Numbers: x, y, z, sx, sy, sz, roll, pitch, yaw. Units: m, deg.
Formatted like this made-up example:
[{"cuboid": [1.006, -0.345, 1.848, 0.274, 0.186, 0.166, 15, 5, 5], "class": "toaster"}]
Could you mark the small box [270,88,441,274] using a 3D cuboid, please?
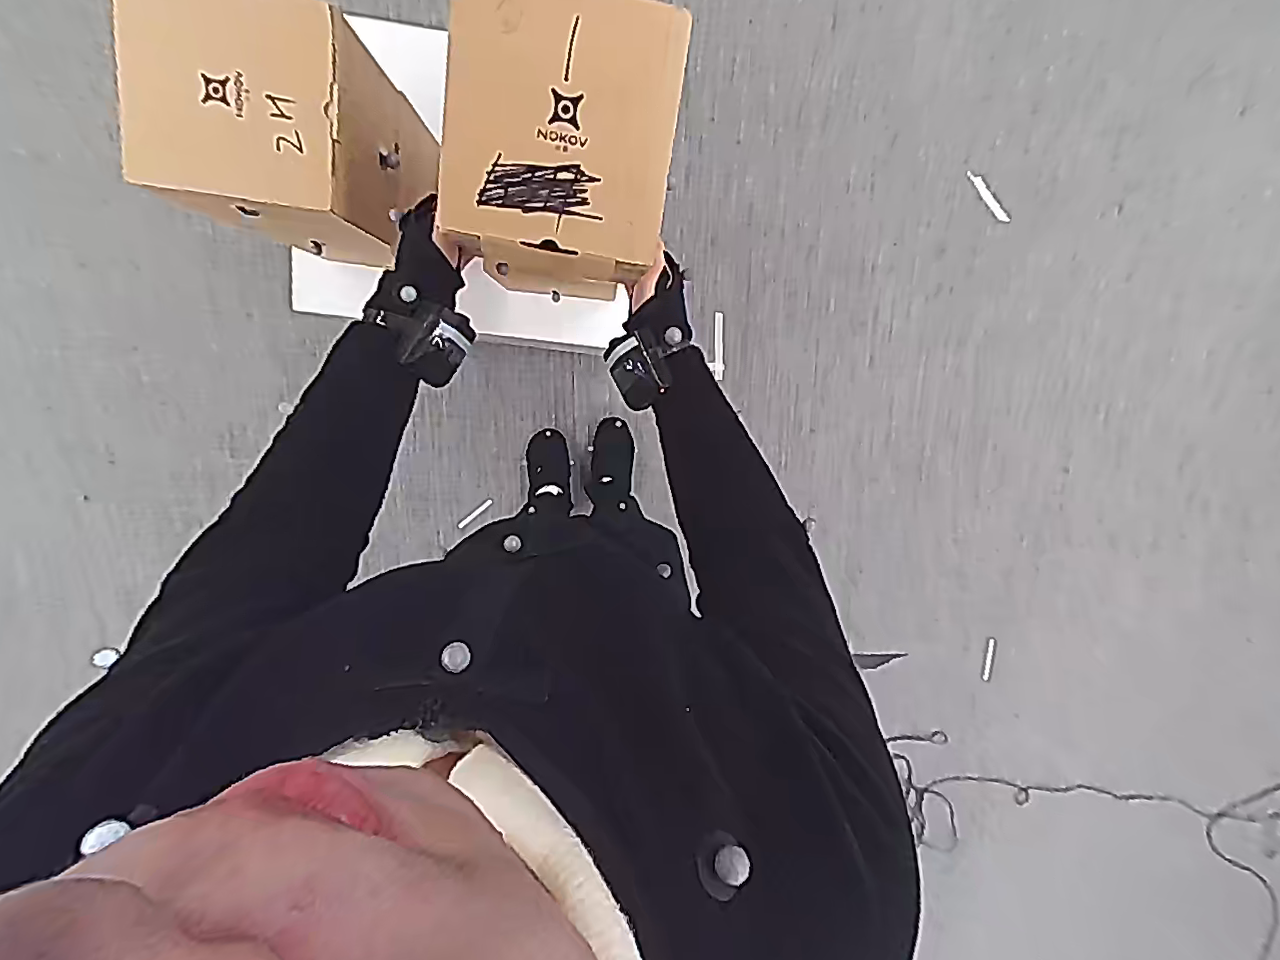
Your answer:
[{"cuboid": [-0.361, -0.382, 0.696, 0.168, 0.176, 0.179, 7, 100, -5], "class": "small box"}]

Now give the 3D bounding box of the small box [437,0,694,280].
[{"cuboid": [-0.063, -0.277, 0.461, 0.168, 0.176, 0.179, 7, 105, -8], "class": "small box"}]

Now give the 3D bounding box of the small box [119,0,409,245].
[{"cuboid": [-0.351, -0.345, 0.536, 0.179, 0.176, 0.168, 6, 102, -6], "class": "small box"}]
